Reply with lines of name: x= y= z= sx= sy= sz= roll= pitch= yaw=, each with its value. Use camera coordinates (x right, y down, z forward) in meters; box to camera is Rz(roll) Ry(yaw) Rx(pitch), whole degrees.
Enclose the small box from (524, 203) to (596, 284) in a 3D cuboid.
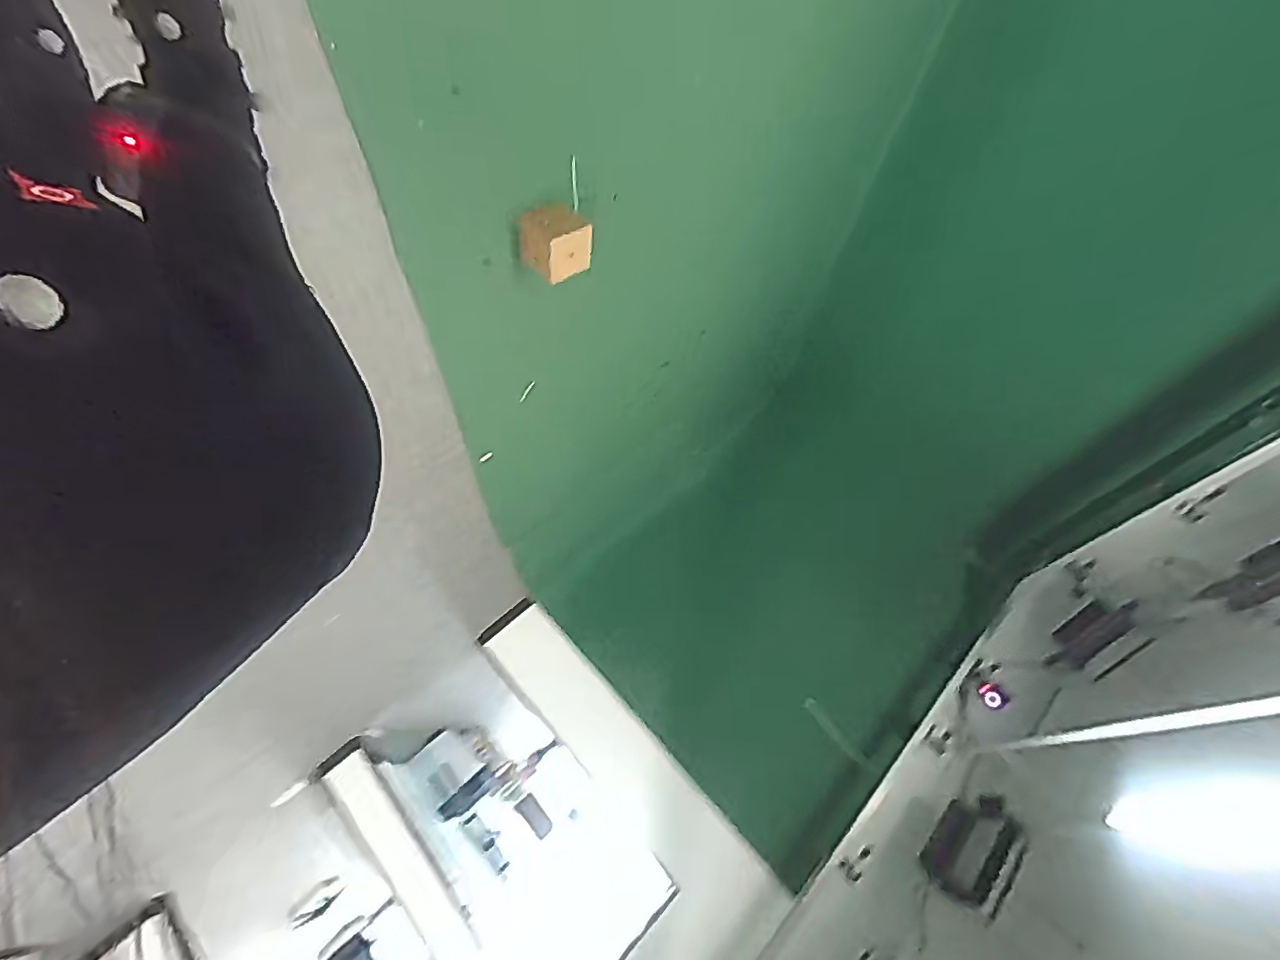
small box: x=-0.275 y=-0.797 z=1.818 sx=0.179 sy=0.176 sz=0.168 roll=-36 pitch=160 yaw=-29
